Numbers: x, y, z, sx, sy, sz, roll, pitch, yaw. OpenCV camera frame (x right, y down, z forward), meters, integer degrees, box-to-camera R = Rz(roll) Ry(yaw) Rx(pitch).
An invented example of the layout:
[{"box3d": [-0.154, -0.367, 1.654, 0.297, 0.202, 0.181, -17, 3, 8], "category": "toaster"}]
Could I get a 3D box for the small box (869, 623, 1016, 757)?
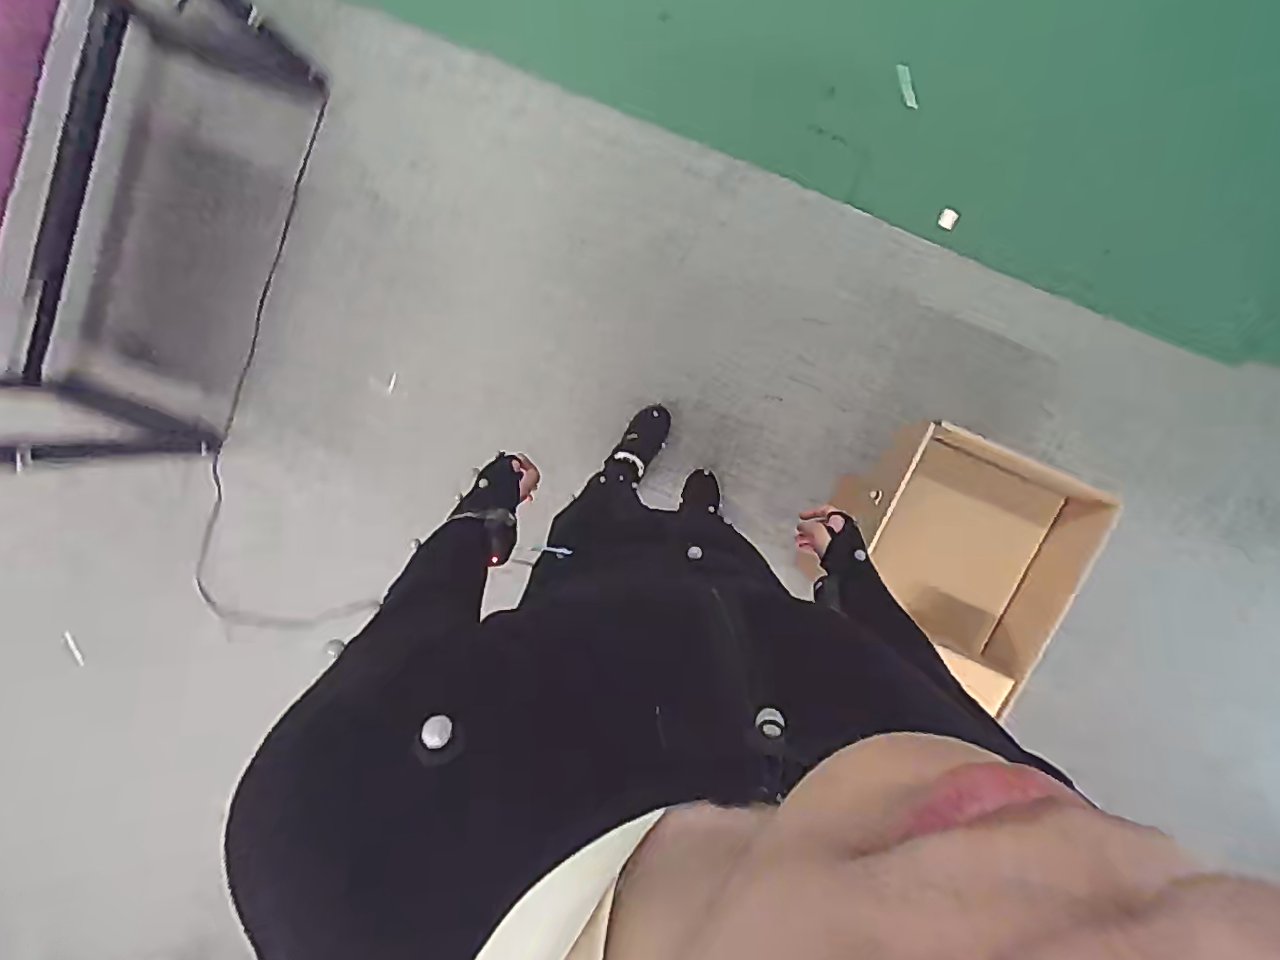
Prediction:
[{"box3d": [0.616, 0.424, 1.126, 0.179, 0.176, 0.168, 26, 98, 2], "category": "small box"}]
